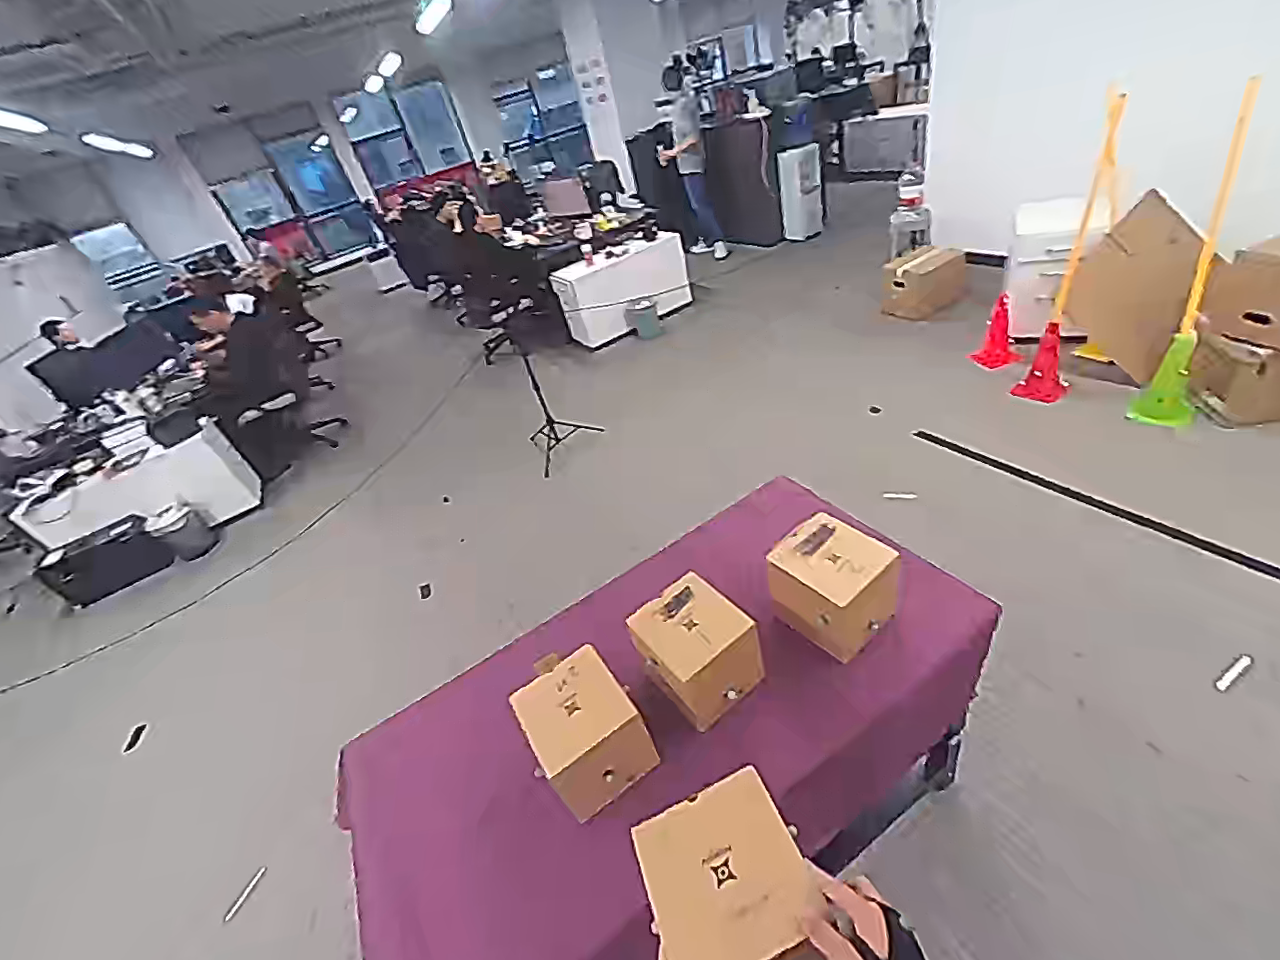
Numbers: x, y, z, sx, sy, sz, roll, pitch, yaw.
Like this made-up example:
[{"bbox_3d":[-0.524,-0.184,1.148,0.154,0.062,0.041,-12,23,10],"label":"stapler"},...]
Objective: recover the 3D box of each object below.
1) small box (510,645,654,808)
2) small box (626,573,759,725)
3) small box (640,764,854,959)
[{"bbox_3d":[-0.096,0.434,0.943,0.168,0.176,0.179,-31,38,-18],"label":"small box"},{"bbox_3d":[0.101,0.316,1.017,0.168,0.176,0.179,-33,39,-20],"label":"small box"},{"bbox_3d":[0.119,0.477,0.614,0.168,0.176,0.179,-24,25,-5],"label":"small box"}]
